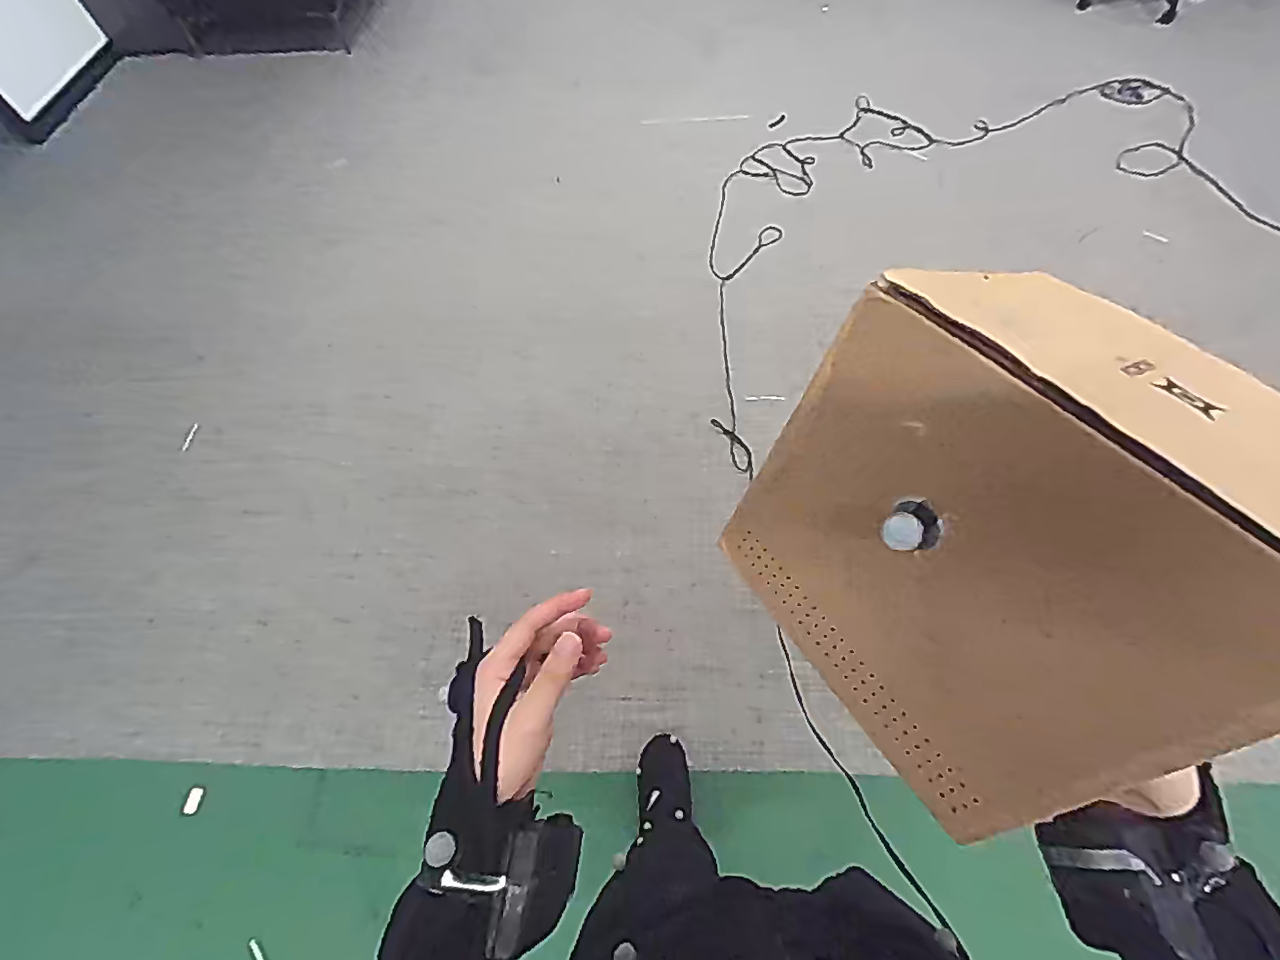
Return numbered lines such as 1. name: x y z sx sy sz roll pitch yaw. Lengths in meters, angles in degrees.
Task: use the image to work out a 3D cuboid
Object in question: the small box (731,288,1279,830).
1. small box: 0.174 0.026 0.267 0.168 0.176 0.179 -17 53 -33
